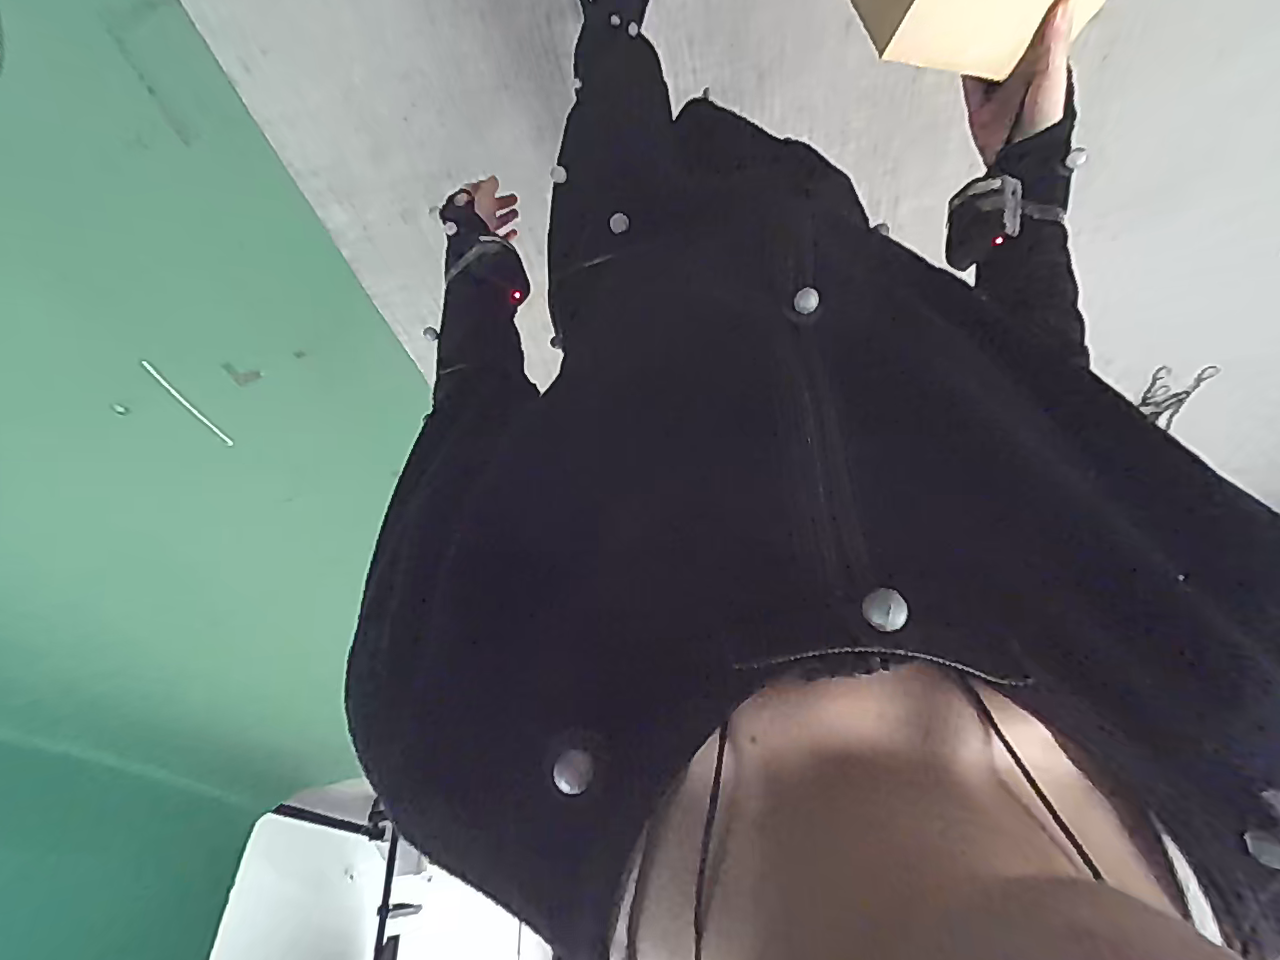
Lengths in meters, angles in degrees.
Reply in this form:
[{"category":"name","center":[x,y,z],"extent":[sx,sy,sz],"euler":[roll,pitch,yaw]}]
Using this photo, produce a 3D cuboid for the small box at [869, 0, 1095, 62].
[{"category":"small box","center":[0.267,-0.455,0.386],"extent":[0.168,0.176,0.179],"euler":[-5,157,-17]}]
